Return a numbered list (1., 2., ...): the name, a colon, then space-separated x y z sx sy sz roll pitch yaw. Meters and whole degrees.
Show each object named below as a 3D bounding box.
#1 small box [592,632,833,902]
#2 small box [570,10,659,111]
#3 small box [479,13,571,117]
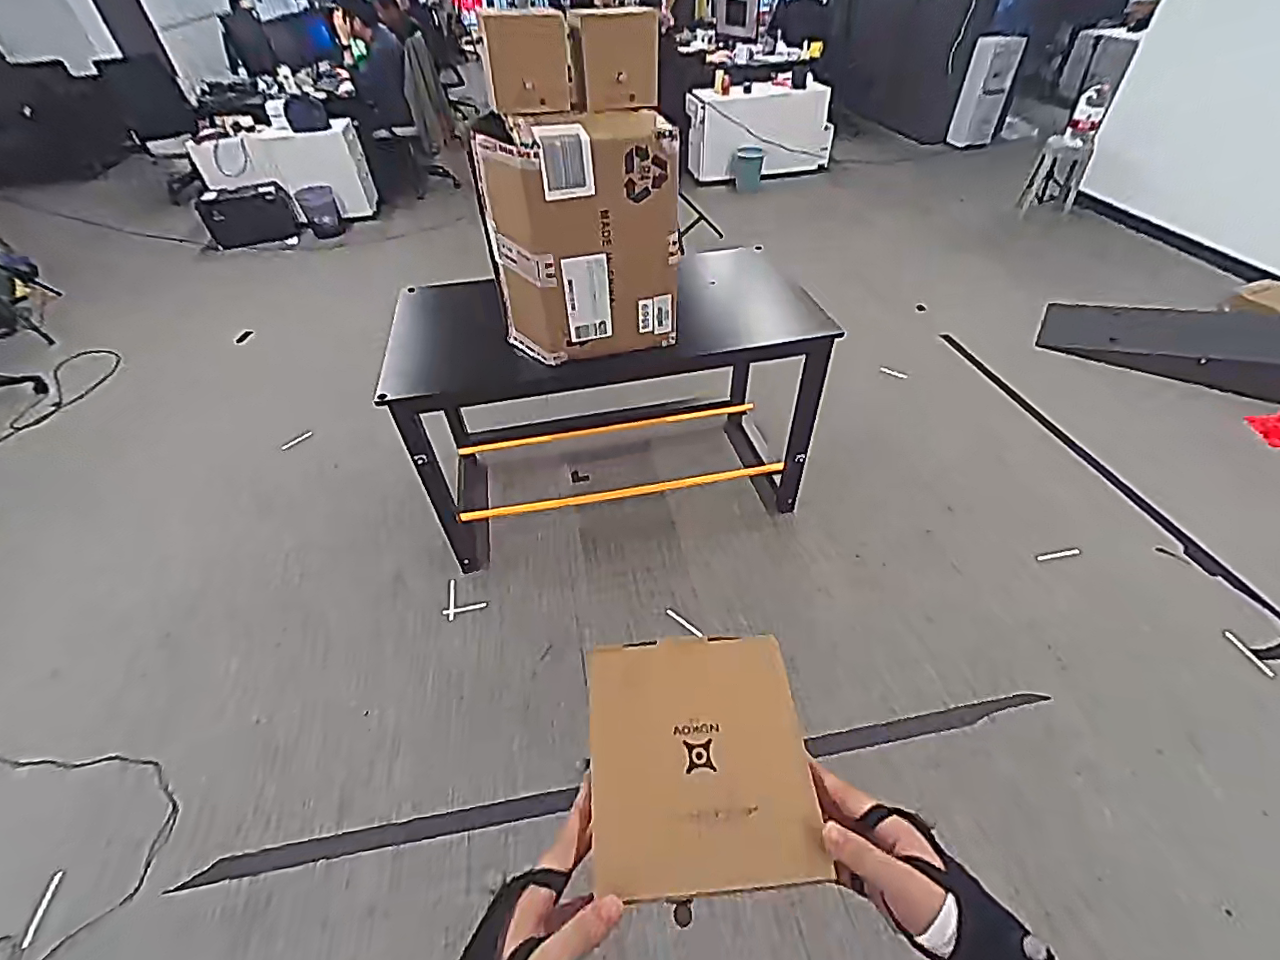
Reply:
1. small box: 0.042 0.253 0.476 0.168 0.176 0.179 -2 52 -4
2. small box: -0.059 -0.950 1.225 0.168 0.176 0.179 -12 44 -10
3. small box: -0.252 -0.914 1.191 0.168 0.176 0.179 -12 44 -13
